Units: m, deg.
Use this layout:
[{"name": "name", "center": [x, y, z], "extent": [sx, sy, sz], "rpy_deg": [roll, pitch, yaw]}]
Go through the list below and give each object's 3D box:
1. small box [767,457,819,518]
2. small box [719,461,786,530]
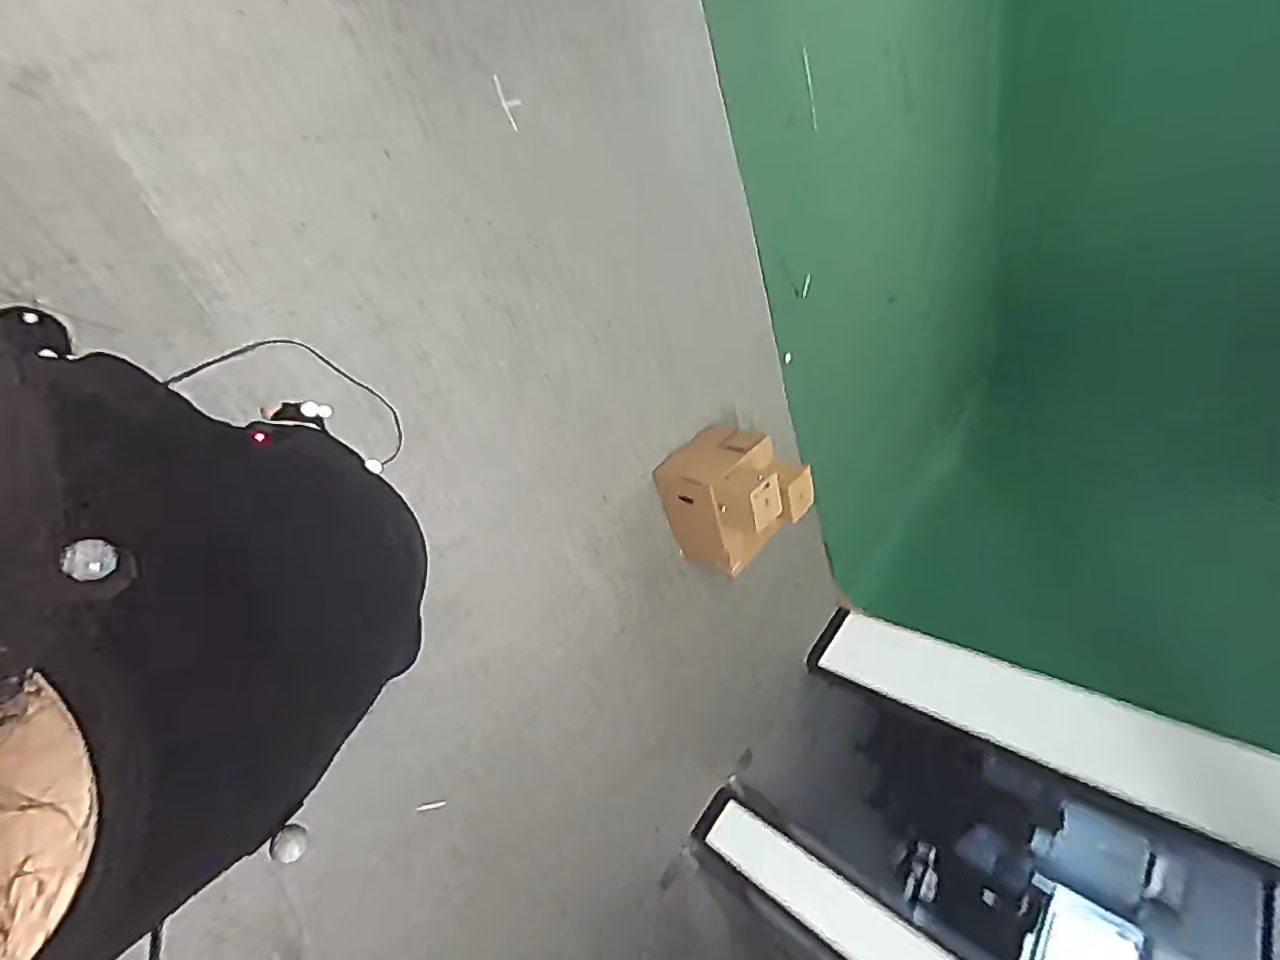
[{"name": "small box", "center": [0.586, 0.022, 2.145], "extent": [0.168, 0.176, 0.179], "rpy_deg": [-39, 126, -31]}, {"name": "small box", "center": [0.411, 0.050, 1.976], "extent": [0.168, 0.176, 0.179], "rpy_deg": [-37, 124, -32]}]
